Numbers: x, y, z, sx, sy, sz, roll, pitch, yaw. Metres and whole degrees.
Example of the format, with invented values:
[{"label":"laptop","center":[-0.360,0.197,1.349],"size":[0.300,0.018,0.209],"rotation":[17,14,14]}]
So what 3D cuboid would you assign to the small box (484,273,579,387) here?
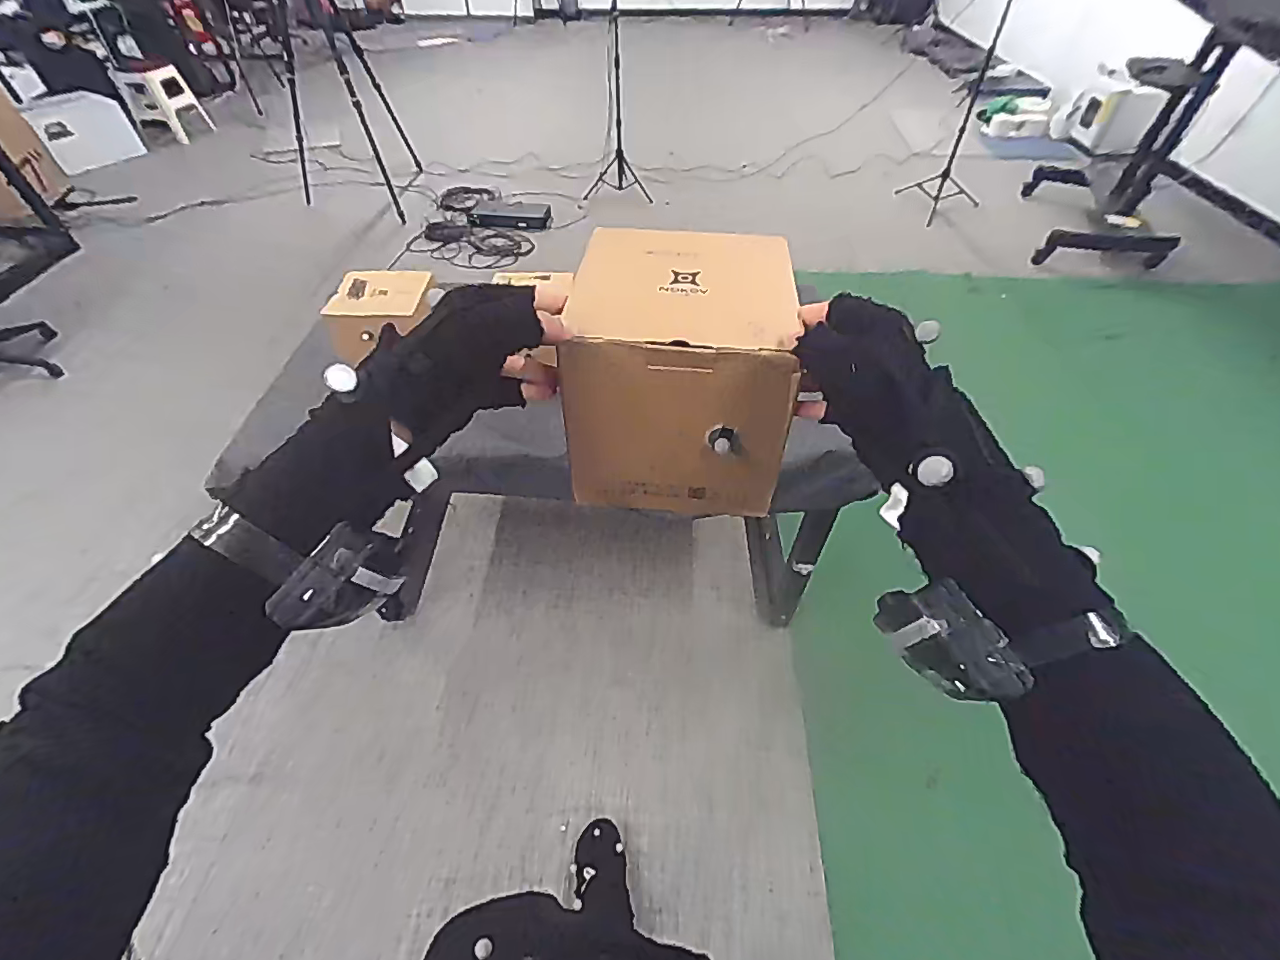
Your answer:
[{"label":"small box","center":[-0.207,-0.308,1.118],"size":[0.168,0.176,0.179],"rotation":[1,49,1]}]

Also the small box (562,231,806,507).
[{"label":"small box","center":[0.036,-0.094,0.469],"size":[0.168,0.176,0.179],"rotation":[5,46,3]}]

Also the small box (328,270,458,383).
[{"label":"small box","center":[-0.499,-0.317,1.124],"size":[0.179,0.176,0.168],"rotation":[0,49,-1]}]
